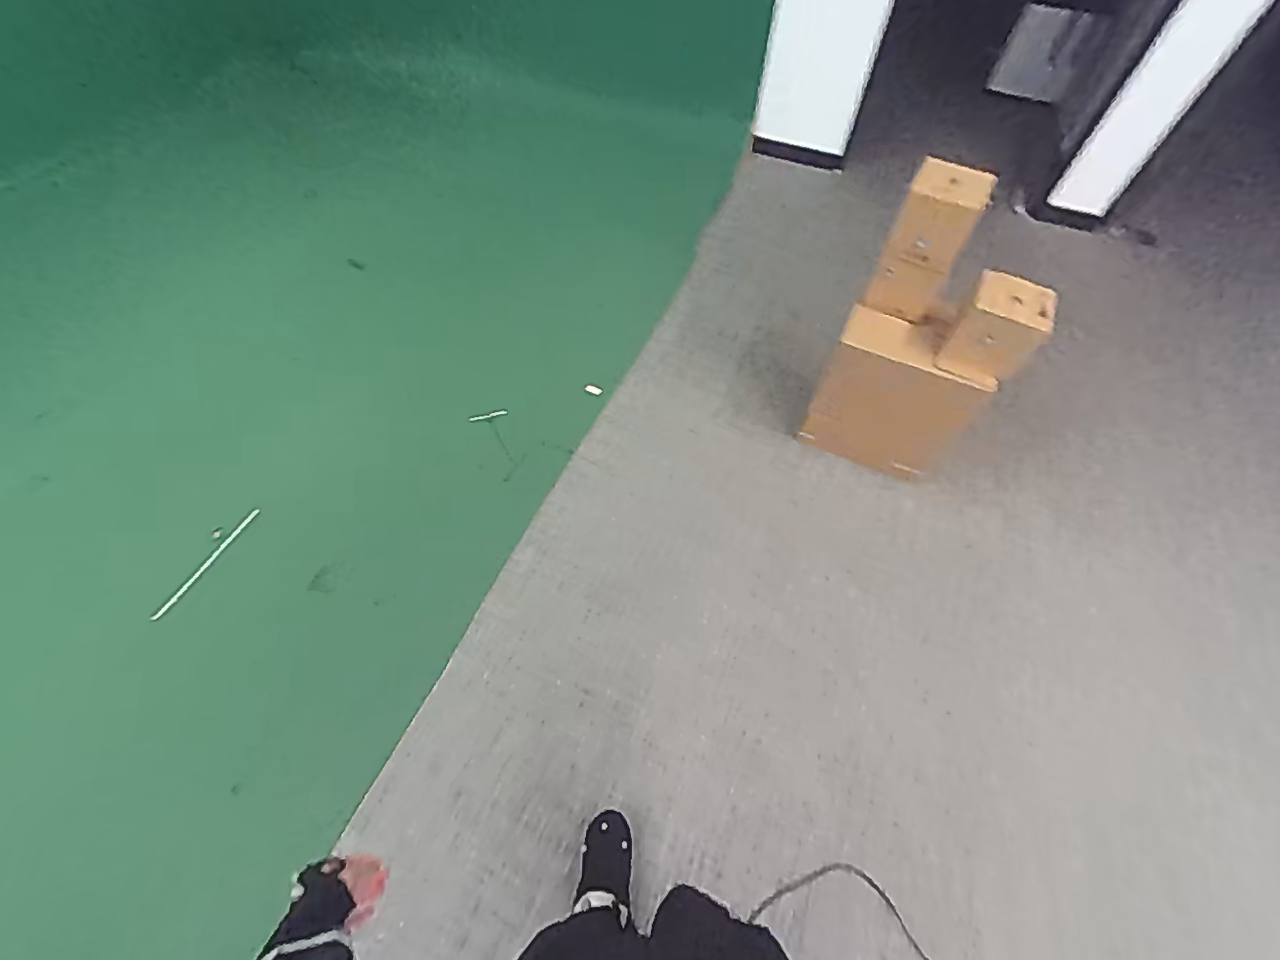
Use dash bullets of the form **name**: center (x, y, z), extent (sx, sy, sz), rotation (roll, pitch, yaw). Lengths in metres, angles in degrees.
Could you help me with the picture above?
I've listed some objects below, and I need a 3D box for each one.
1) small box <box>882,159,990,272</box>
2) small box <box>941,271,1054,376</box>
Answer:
- **small box**: center (0.732, -0.658, 1.349), extent (0.168, 0.176, 0.179), rotation (26, 61, 16)
- **small box**: center (0.902, -0.394, 1.378), extent (0.179, 0.176, 0.168), rotation (24, 63, 14)
